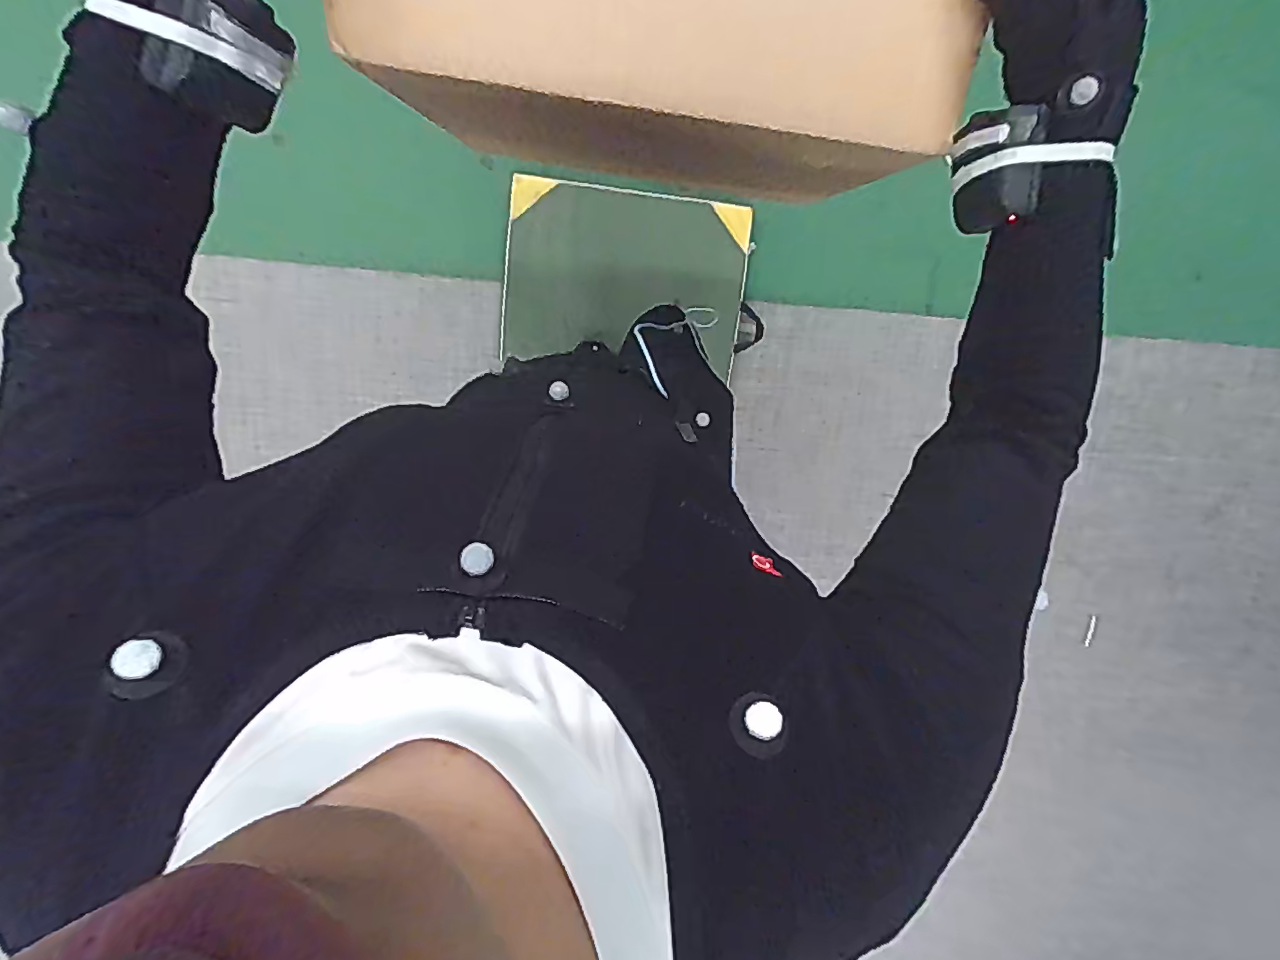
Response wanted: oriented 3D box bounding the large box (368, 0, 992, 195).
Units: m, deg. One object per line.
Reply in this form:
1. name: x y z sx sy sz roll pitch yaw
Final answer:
1. large box: 0.035 -0.449 0.447 0.408 0.320 0.320 7 112 -4
